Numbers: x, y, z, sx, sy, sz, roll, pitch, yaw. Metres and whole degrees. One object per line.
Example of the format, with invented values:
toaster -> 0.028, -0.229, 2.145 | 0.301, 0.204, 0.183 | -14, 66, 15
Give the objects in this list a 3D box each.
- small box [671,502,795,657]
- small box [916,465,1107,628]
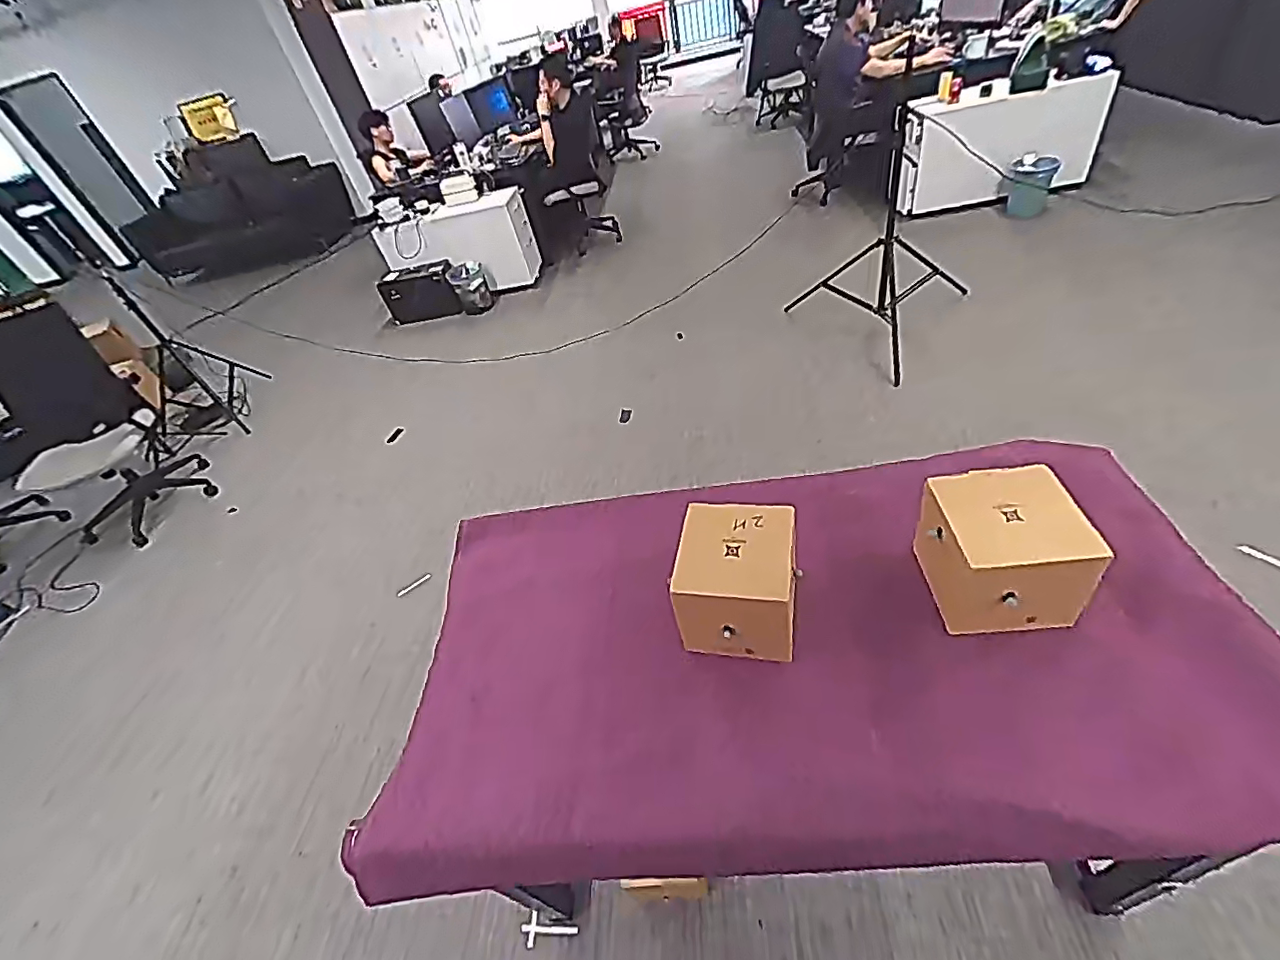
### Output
small box -> 0.156, 0.156, 0.852 | 0.168, 0.176, 0.179 | 2, 45, 17
small box -> 0.526, 0.105, 0.799 | 0.168, 0.176, 0.179 | -7, 42, 10
